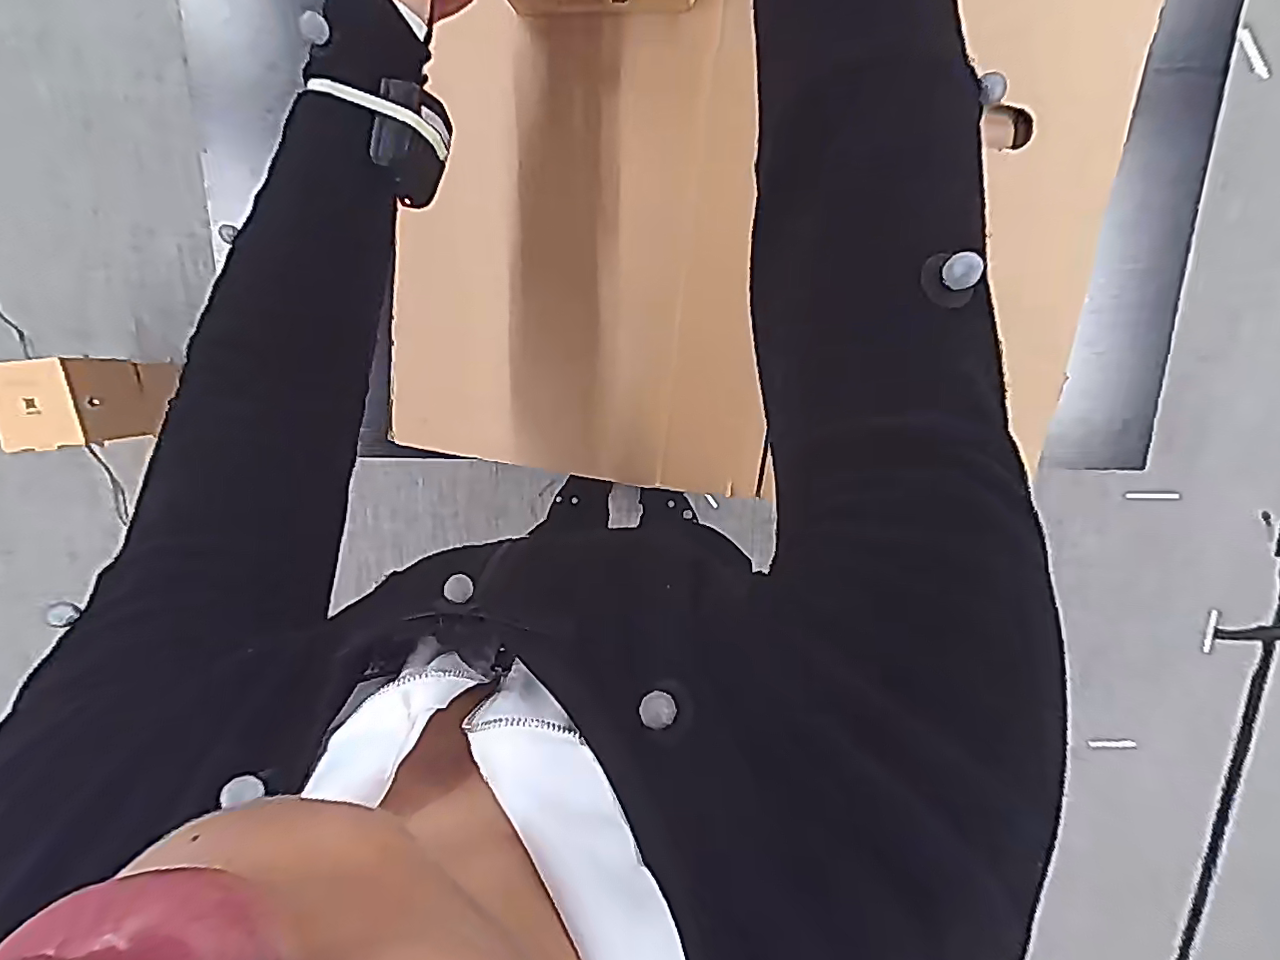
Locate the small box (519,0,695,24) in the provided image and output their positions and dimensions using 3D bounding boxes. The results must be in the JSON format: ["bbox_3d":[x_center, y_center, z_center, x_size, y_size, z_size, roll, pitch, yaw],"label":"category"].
[{"bbox_3d":[-0.039,-0.476,0.382,0.168,0.176,0.179,9,100,12],"label":"small box"}]

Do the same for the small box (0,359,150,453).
[{"bbox_3d":[-1.203,-0.160,1.149,0.168,0.176,0.179,-6,100,-1],"label":"small box"}]

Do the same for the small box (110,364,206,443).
[{"bbox_3d":[-1.206,-0.187,1.309,0.168,0.176,0.179,-3,102,-1],"label":"small box"}]
